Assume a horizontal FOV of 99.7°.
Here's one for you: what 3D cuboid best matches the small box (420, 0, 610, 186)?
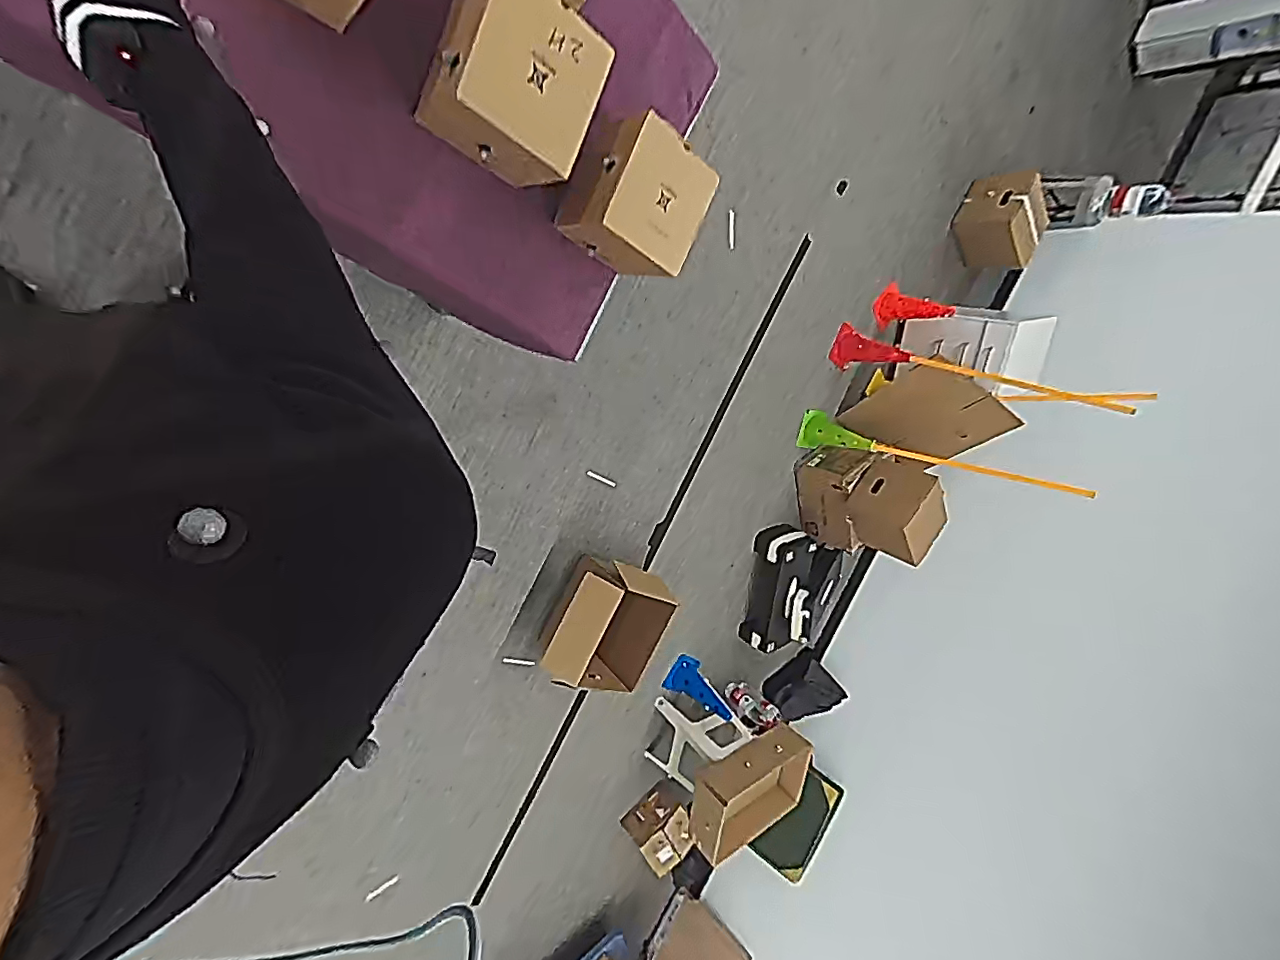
[{"bbox_3d":[-0.176,-0.526,0.730,0.168,0.176,0.179,17,97,-43],"label":"small box"}]

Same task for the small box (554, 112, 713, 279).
[{"bbox_3d":[-0.016,-0.456,0.894,0.168,0.176,0.179,20,95,-42],"label":"small box"}]
